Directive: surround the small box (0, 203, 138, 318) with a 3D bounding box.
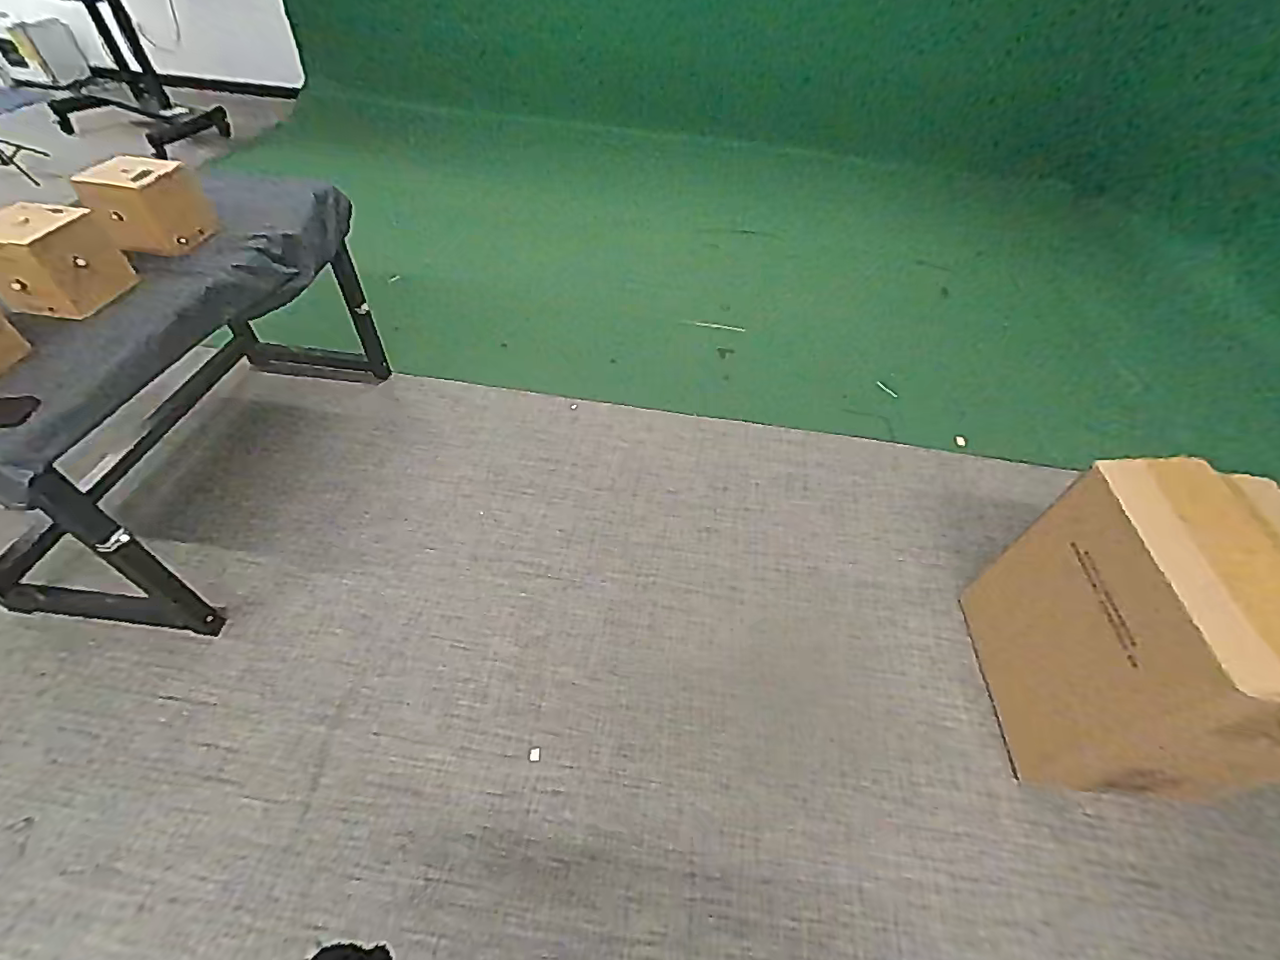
[{"bbox_3d":[-1.267,-0.473,1.175,0.168,0.176,0.179,7,50,1],"label":"small box"}]

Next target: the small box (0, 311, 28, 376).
[{"bbox_3d":[-1.309,-0.262,0.990,0.168,0.176,0.179,5,50,1],"label":"small box"}]

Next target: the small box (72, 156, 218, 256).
[{"bbox_3d":[-1.229,-0.686,1.363,0.179,0.176,0.168,8,49,3],"label":"small box"}]
